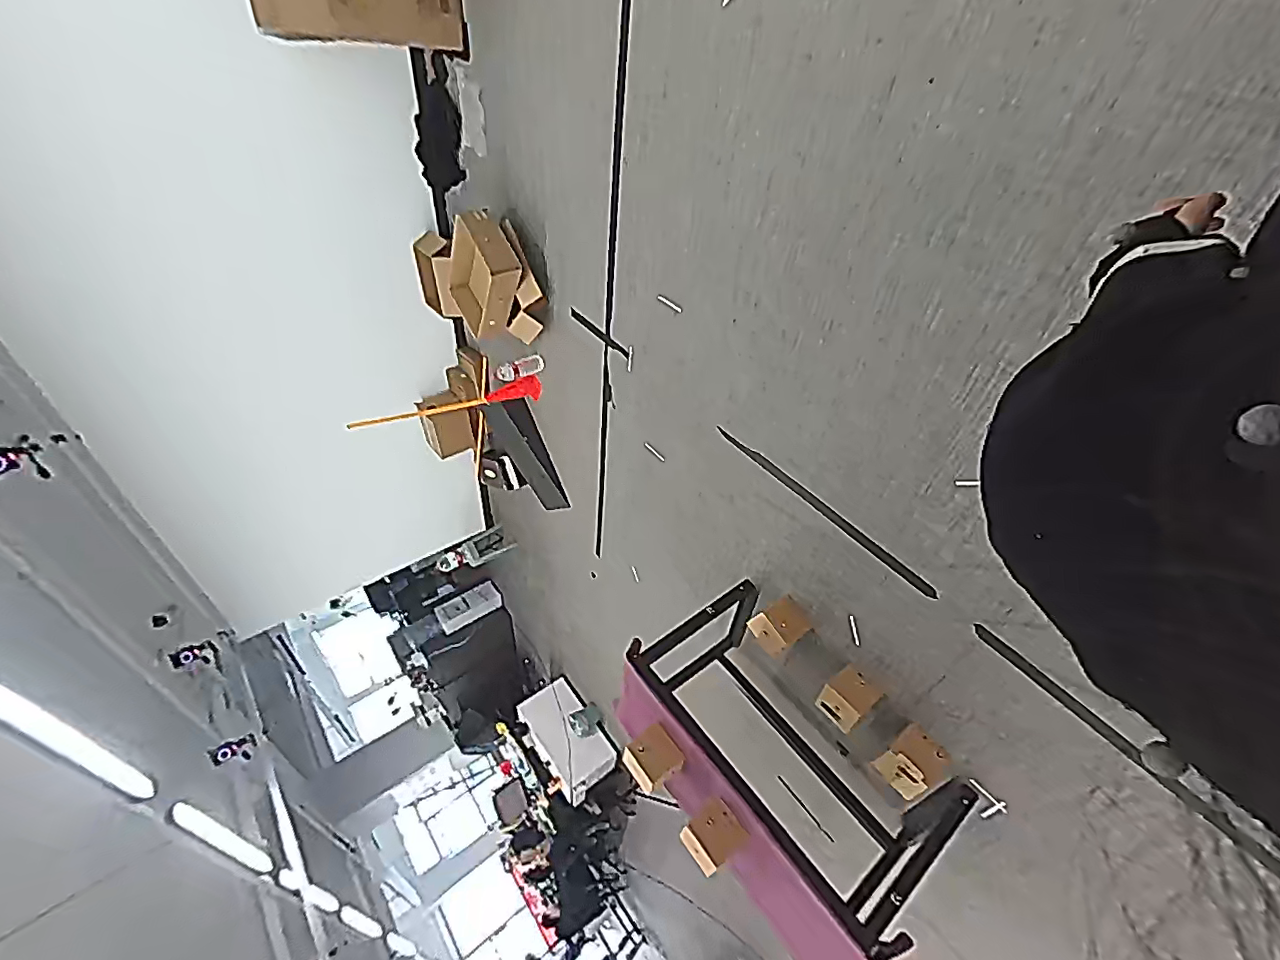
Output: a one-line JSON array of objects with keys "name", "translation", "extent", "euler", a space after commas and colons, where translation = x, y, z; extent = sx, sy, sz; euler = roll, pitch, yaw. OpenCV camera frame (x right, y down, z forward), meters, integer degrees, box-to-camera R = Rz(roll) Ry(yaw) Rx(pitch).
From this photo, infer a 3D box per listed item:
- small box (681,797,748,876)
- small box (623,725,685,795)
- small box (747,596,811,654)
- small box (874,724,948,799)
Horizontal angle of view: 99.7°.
[{"name": "small box", "translation": [0.274, 1.305, 1.986], "extent": [0.168, 0.176, 0.179], "euler": [45, 147, 31]}, {"name": "small box", "translation": [0.055, 1.123, 2.186], "extent": [0.179, 0.176, 0.168], "euler": [44, 145, 30]}, {"name": "small box", "translation": [0.618, 0.637, 2.402], "extent": [0.179, 0.176, 0.168], "euler": [52, 148, 17]}, {"name": "small box", "translation": [1.041, 1.073, 2.070], "extent": [0.168, 0.176, 0.179], "euler": [44, 146, 31]}]
